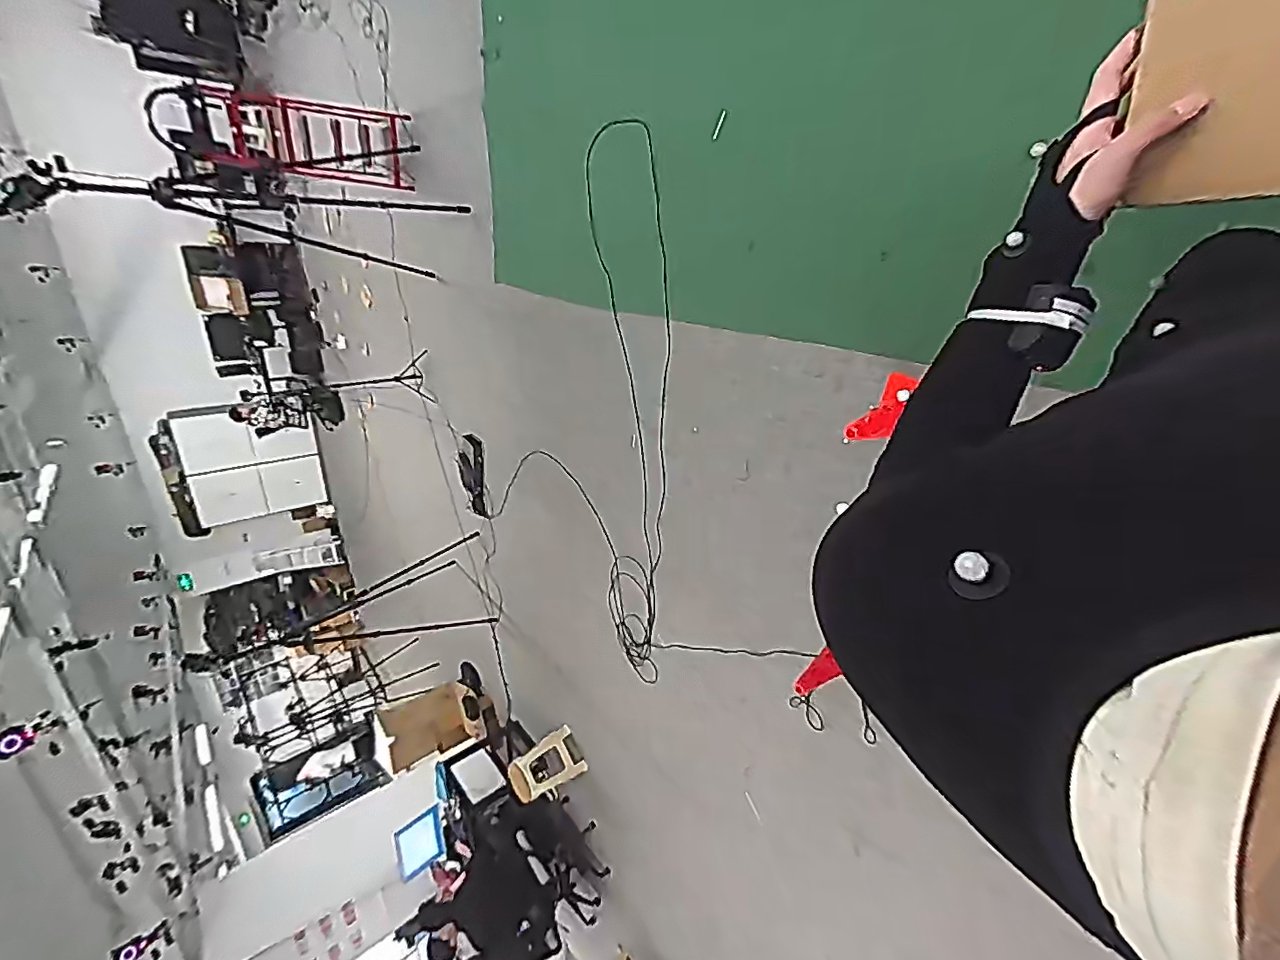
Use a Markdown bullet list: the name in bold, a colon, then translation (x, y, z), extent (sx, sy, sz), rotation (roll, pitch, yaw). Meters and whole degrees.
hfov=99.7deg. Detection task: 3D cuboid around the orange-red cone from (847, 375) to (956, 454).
- **orange-red cone**: translation (0.691, -0.161, 1.524), extent (0.199, 0.360, 0.198), rotation (35, 128, 40)
